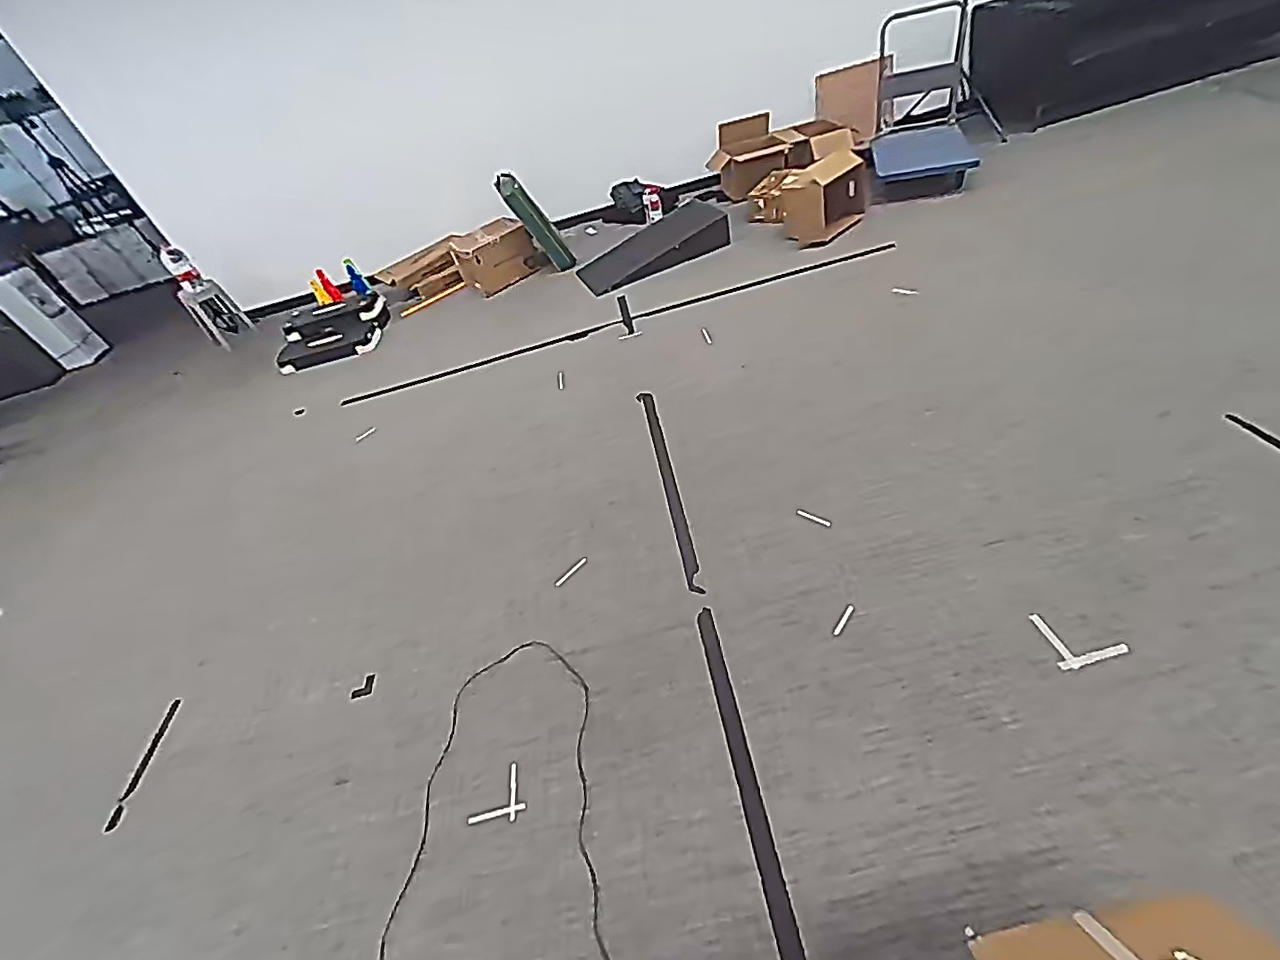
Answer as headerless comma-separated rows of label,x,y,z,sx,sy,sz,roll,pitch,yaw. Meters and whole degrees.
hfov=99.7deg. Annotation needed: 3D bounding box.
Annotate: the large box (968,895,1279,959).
large box,0.623,0.719,0.526,0.320,0.408,0.320,-17,78,4
